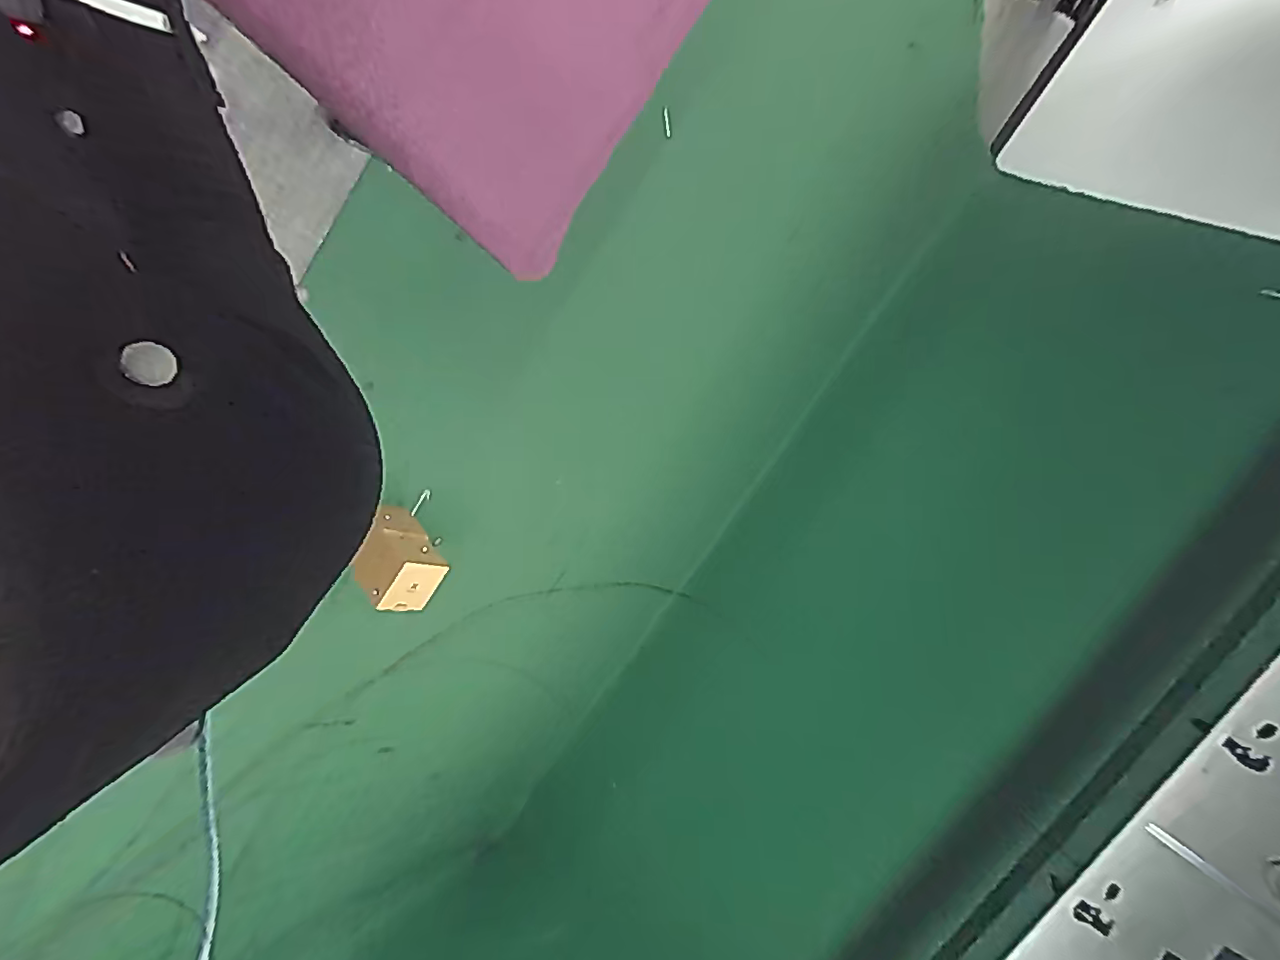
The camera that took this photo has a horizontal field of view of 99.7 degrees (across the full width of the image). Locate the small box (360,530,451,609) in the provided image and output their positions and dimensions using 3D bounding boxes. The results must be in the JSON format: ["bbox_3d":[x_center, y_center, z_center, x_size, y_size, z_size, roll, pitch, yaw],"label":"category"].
[{"bbox_3d":[-0.733,0.277,1.679,0.179,0.176,0.168,-54,148,7],"label":"small box"}]
